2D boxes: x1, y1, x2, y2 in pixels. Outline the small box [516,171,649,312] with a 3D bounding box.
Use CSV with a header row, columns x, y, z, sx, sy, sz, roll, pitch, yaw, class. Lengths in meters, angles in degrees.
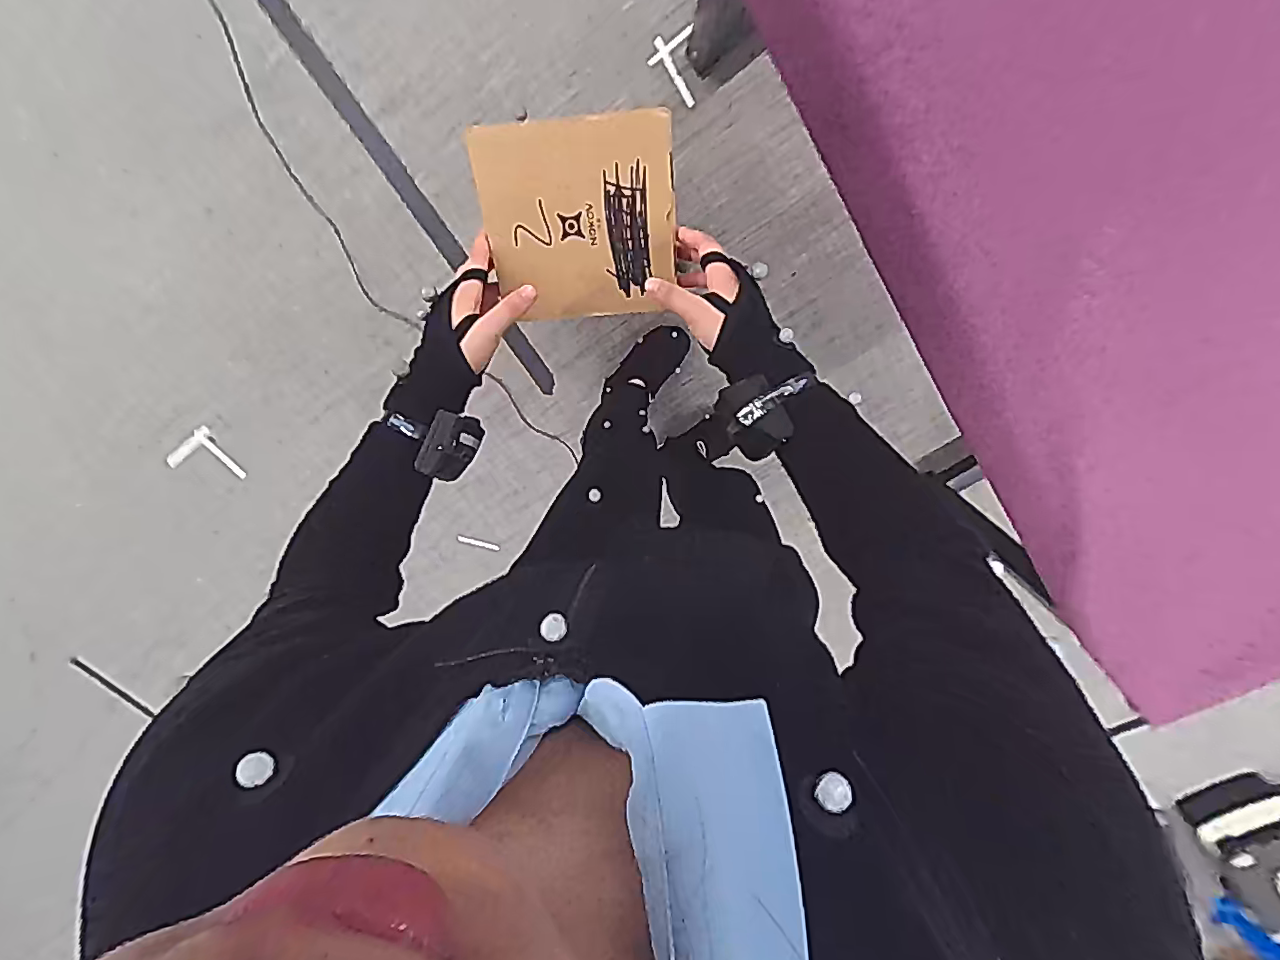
x,y,z,sx,sy,sz,roll,pitch,yaw,class
-0.099,-0.440,1.004,0.179,0.176,0.168,-30,110,13,small box
